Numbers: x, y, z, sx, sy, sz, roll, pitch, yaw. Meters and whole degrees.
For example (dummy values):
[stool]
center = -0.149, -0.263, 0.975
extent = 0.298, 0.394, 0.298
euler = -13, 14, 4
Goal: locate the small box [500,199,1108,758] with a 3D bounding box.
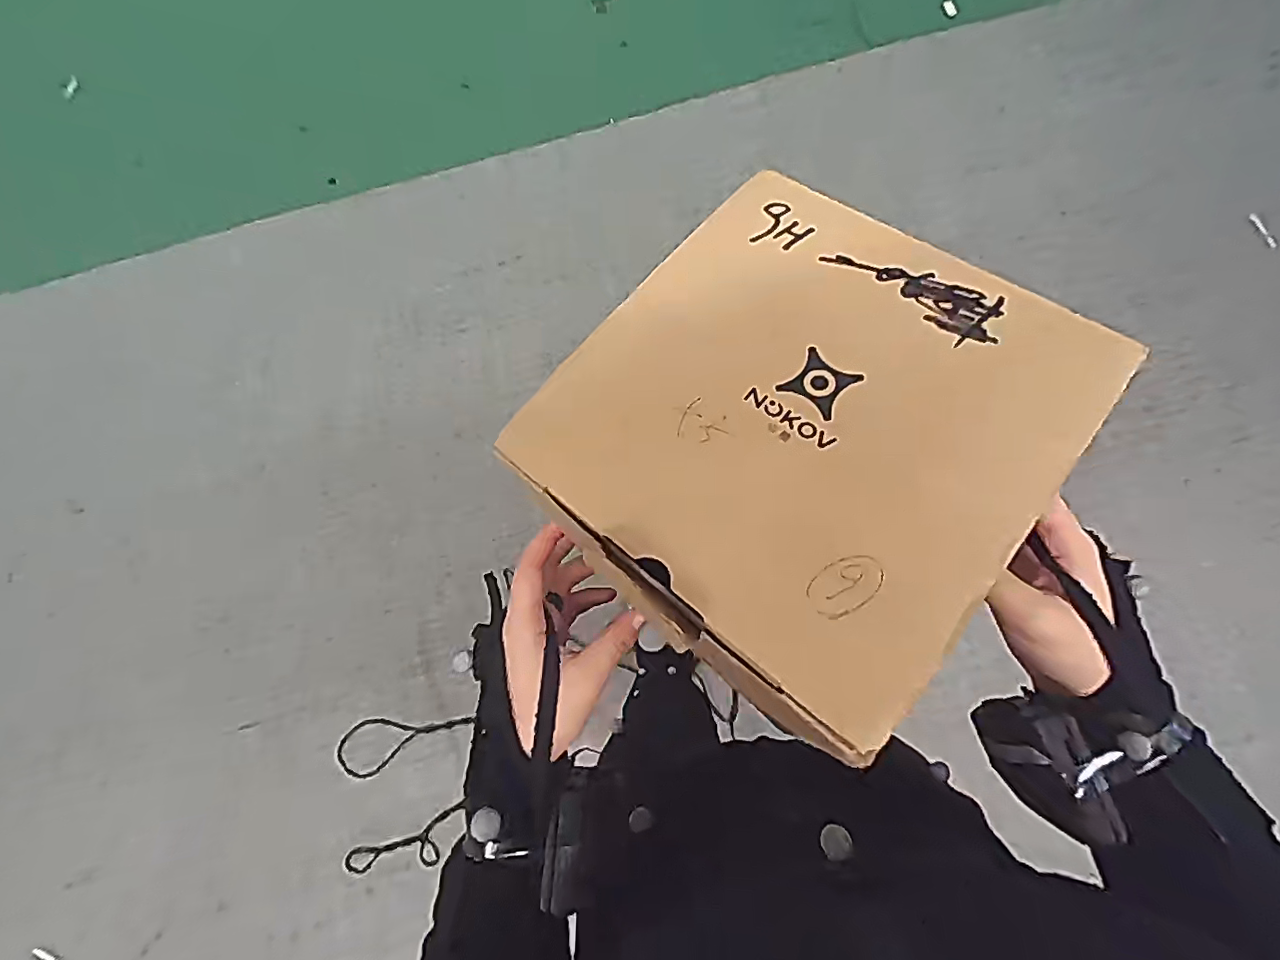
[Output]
[small box]
center = 0.068, 0.007, 0.281
extent = 0.168, 0.176, 0.179
euler = 37, 78, 19
